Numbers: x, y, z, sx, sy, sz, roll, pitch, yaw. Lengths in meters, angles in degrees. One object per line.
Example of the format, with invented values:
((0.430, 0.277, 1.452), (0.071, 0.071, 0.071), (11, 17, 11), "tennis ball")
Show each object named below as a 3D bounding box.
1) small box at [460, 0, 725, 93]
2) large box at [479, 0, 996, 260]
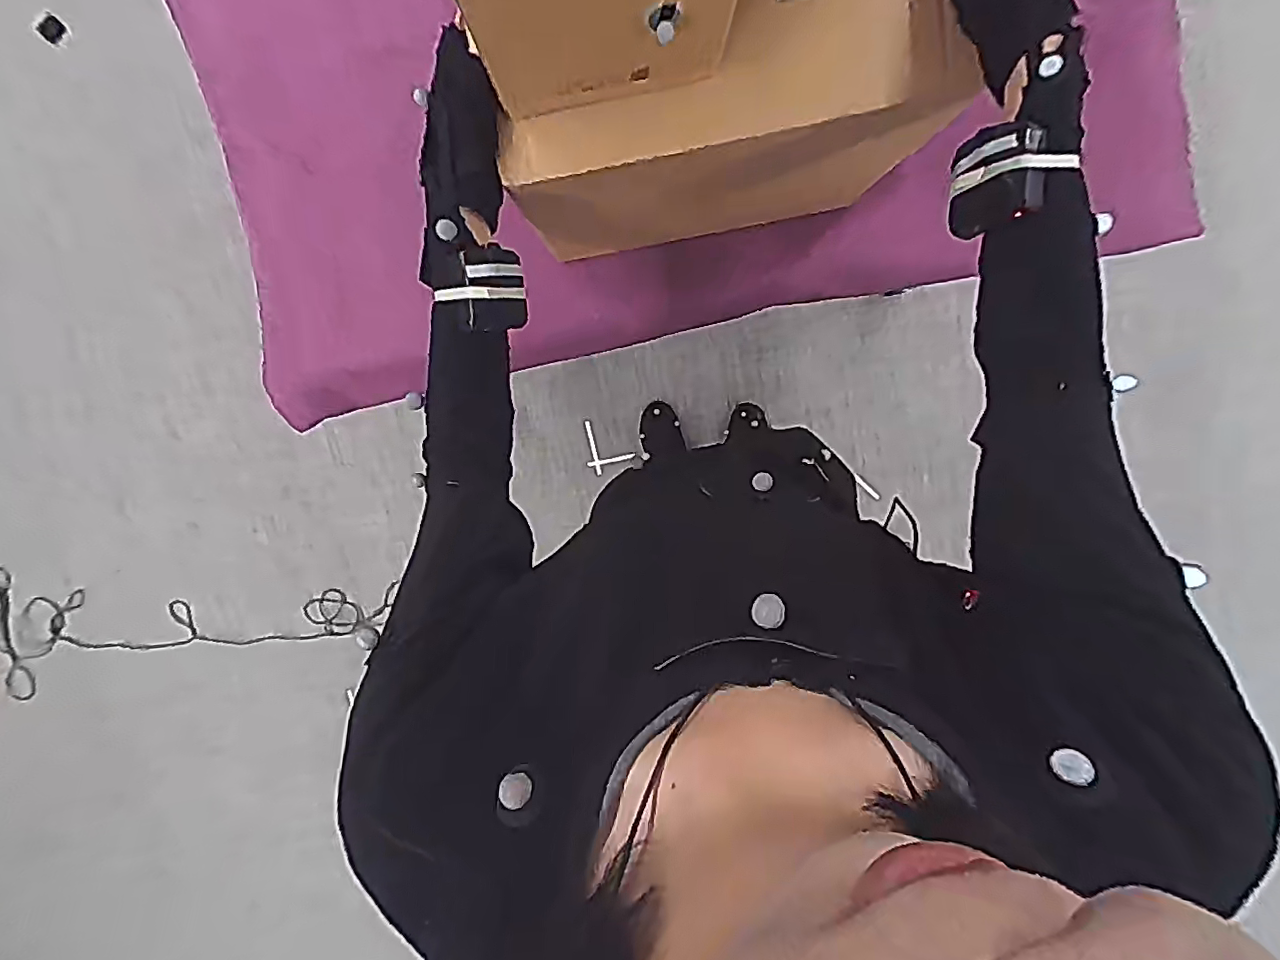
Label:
((-0.036, -0.366, 0.319), (0.168, 0.176, 0.179), (-11, 100, 0), "small box")
((0.055, -0.452, 0.550), (0.408, 0.320, 0.320), (-12, 102, 1), "large box")
